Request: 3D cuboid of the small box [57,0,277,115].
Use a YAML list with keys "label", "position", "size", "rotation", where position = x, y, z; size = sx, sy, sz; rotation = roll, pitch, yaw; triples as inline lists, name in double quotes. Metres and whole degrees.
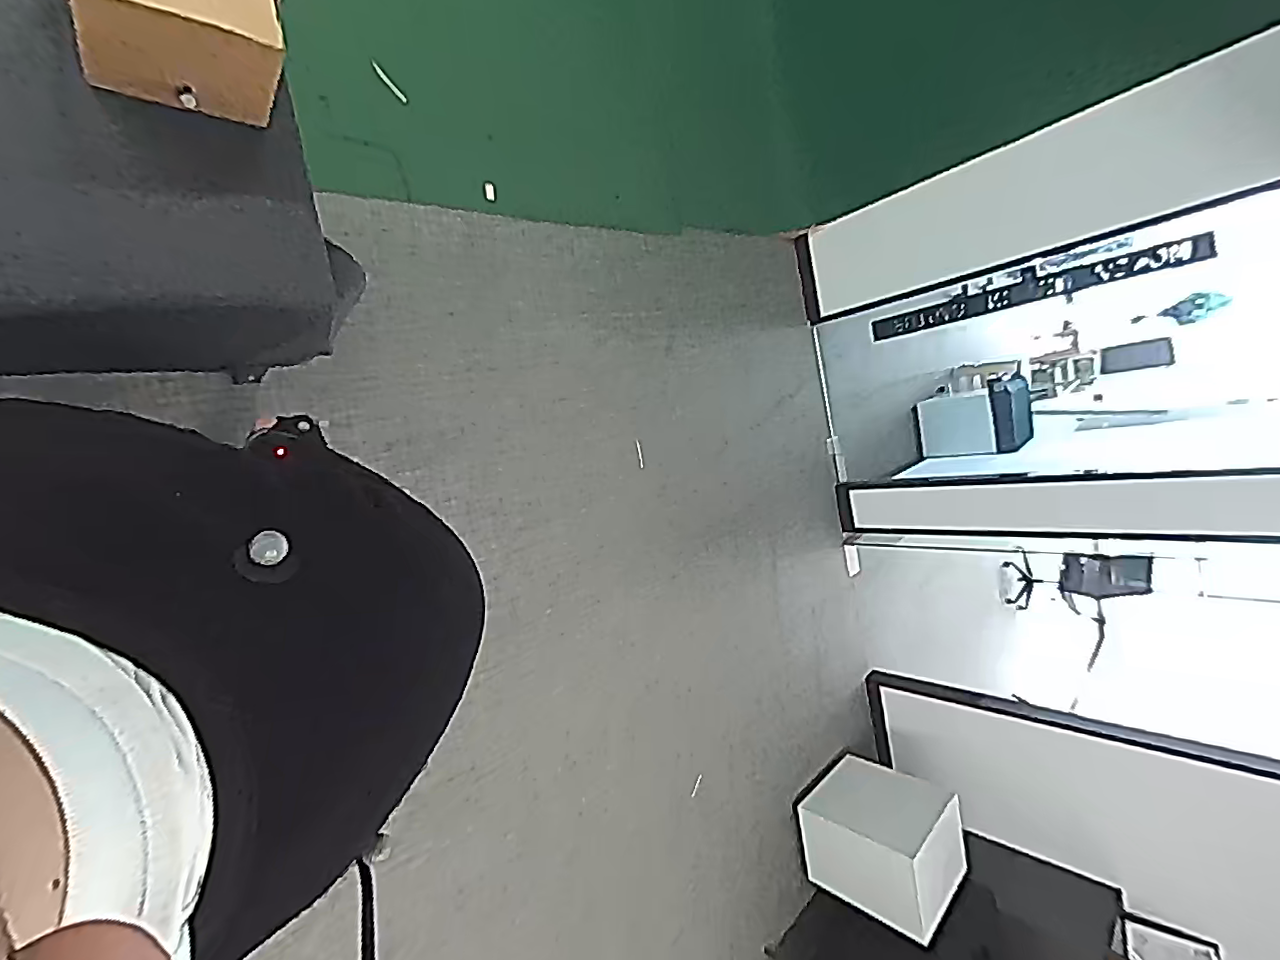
- label: "small box"
  position: [-0.543, -0.556, 0.613]
  size: [0.179, 0.176, 0.168]
  rotation: [-11, 96, -42]
